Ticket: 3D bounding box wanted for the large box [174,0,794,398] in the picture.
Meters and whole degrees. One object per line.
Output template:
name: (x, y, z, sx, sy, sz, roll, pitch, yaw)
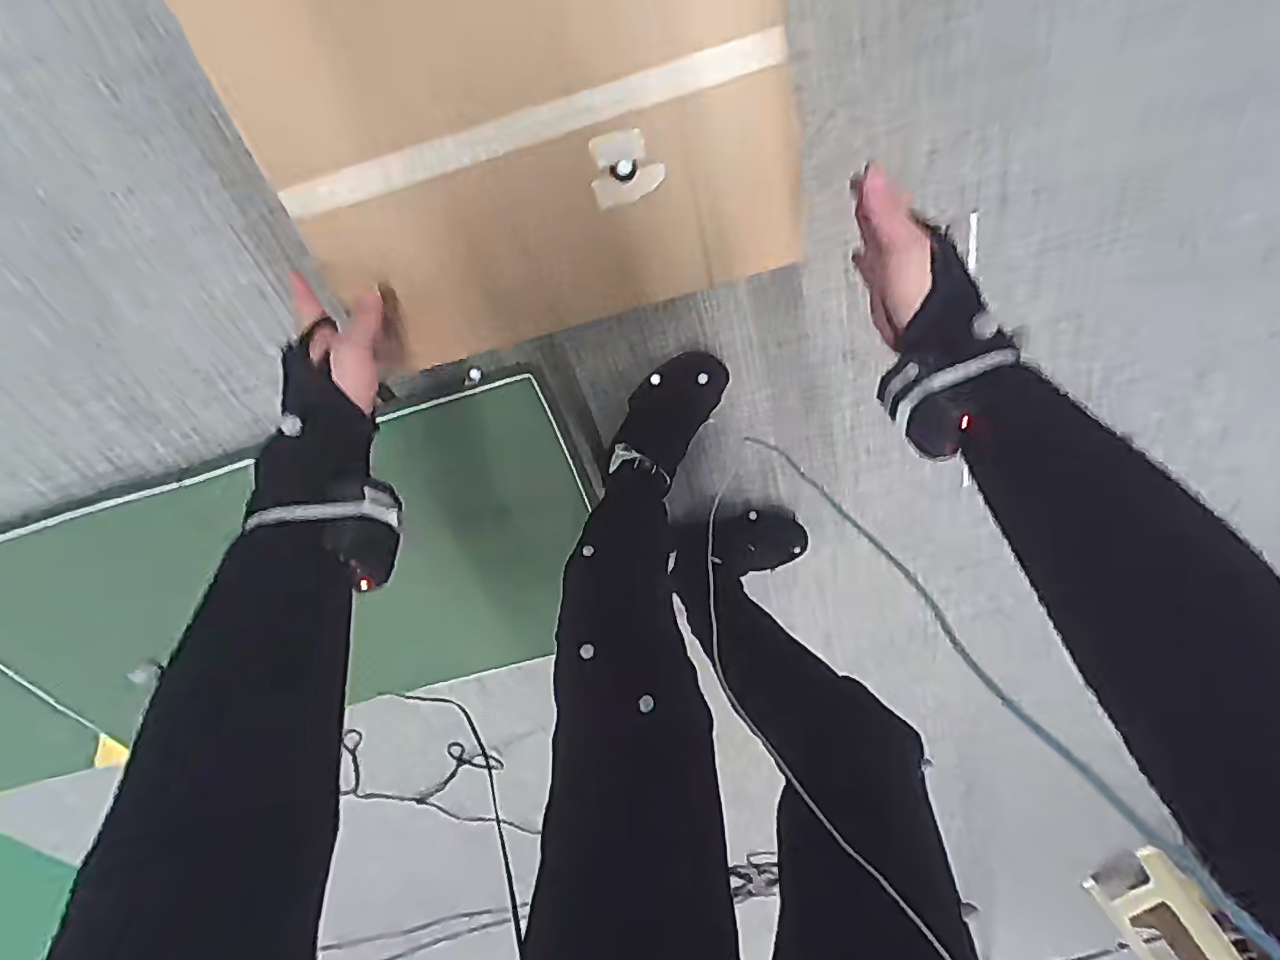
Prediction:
large box: (-0.102, -0.331, 0.552, 0.408, 0.320, 0.320, -15, 123, 5)
